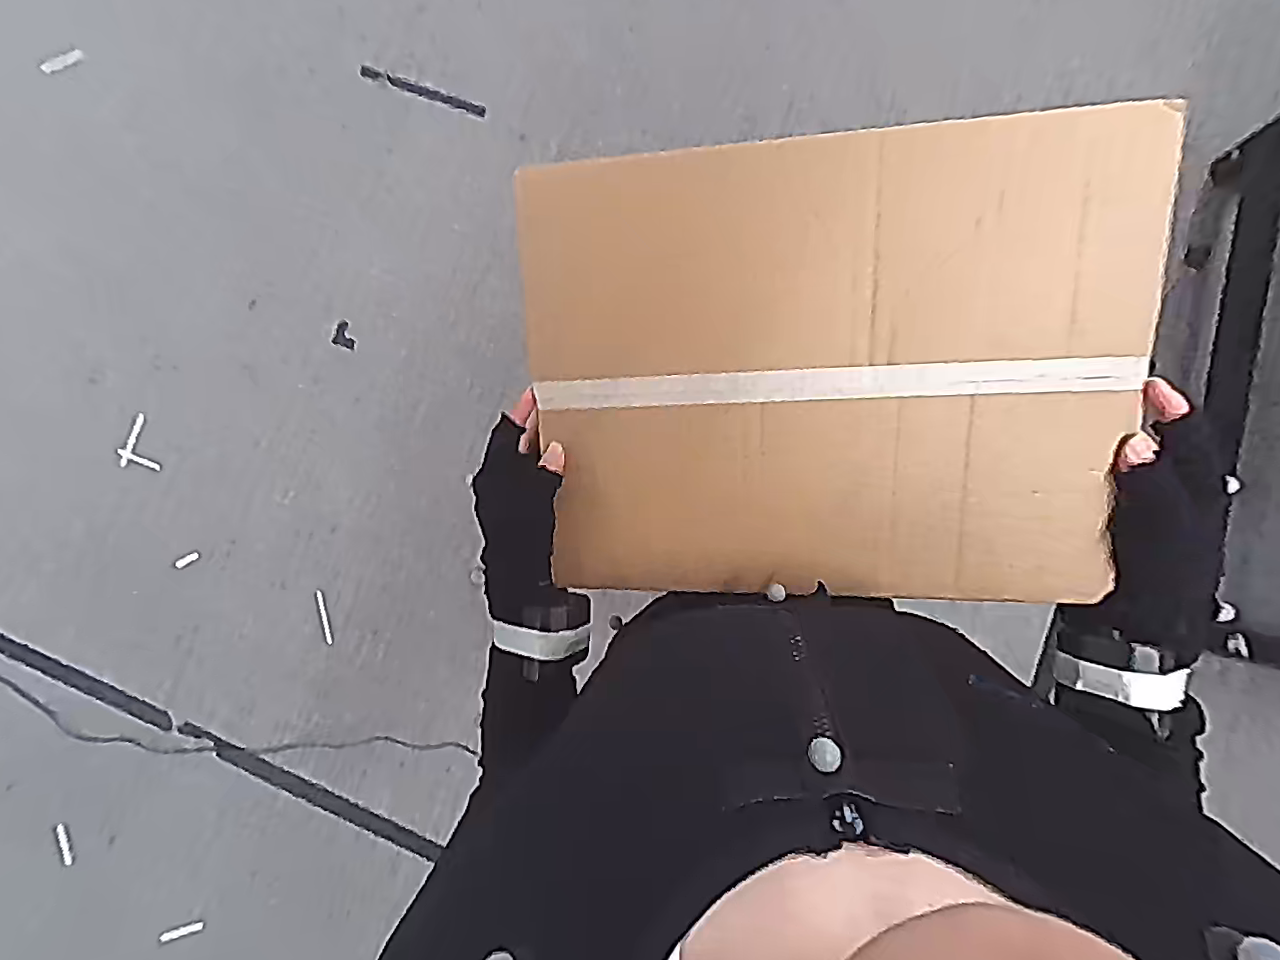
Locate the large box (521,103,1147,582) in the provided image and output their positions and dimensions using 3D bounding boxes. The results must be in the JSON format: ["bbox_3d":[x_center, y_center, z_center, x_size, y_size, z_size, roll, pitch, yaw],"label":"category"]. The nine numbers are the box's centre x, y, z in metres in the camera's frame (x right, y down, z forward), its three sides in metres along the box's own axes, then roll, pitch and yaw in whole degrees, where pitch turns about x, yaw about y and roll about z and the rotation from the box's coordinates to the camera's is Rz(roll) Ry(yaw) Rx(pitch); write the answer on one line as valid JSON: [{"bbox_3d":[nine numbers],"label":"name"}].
[{"bbox_3d":[0.139,-0.104,0.530,0.408,0.320,0.320,-1,104,10],"label":"large box"}]
